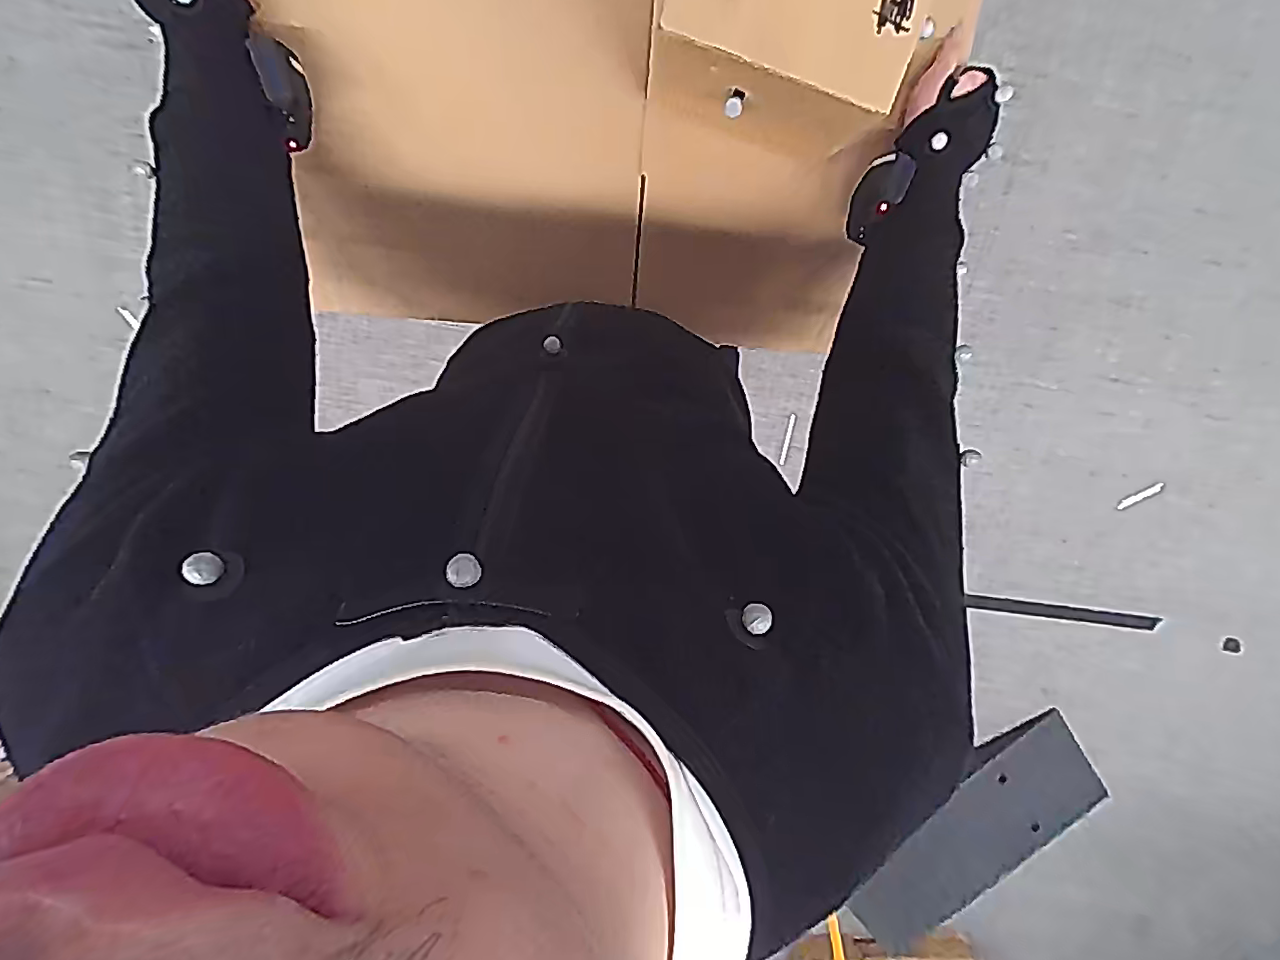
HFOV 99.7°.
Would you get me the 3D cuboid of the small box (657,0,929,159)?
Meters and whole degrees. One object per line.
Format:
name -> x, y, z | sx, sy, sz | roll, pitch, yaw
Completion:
small box -> 0.119, -0.386, 0.433 | 0.179, 0.176, 0.168 | 17, 109, -4
